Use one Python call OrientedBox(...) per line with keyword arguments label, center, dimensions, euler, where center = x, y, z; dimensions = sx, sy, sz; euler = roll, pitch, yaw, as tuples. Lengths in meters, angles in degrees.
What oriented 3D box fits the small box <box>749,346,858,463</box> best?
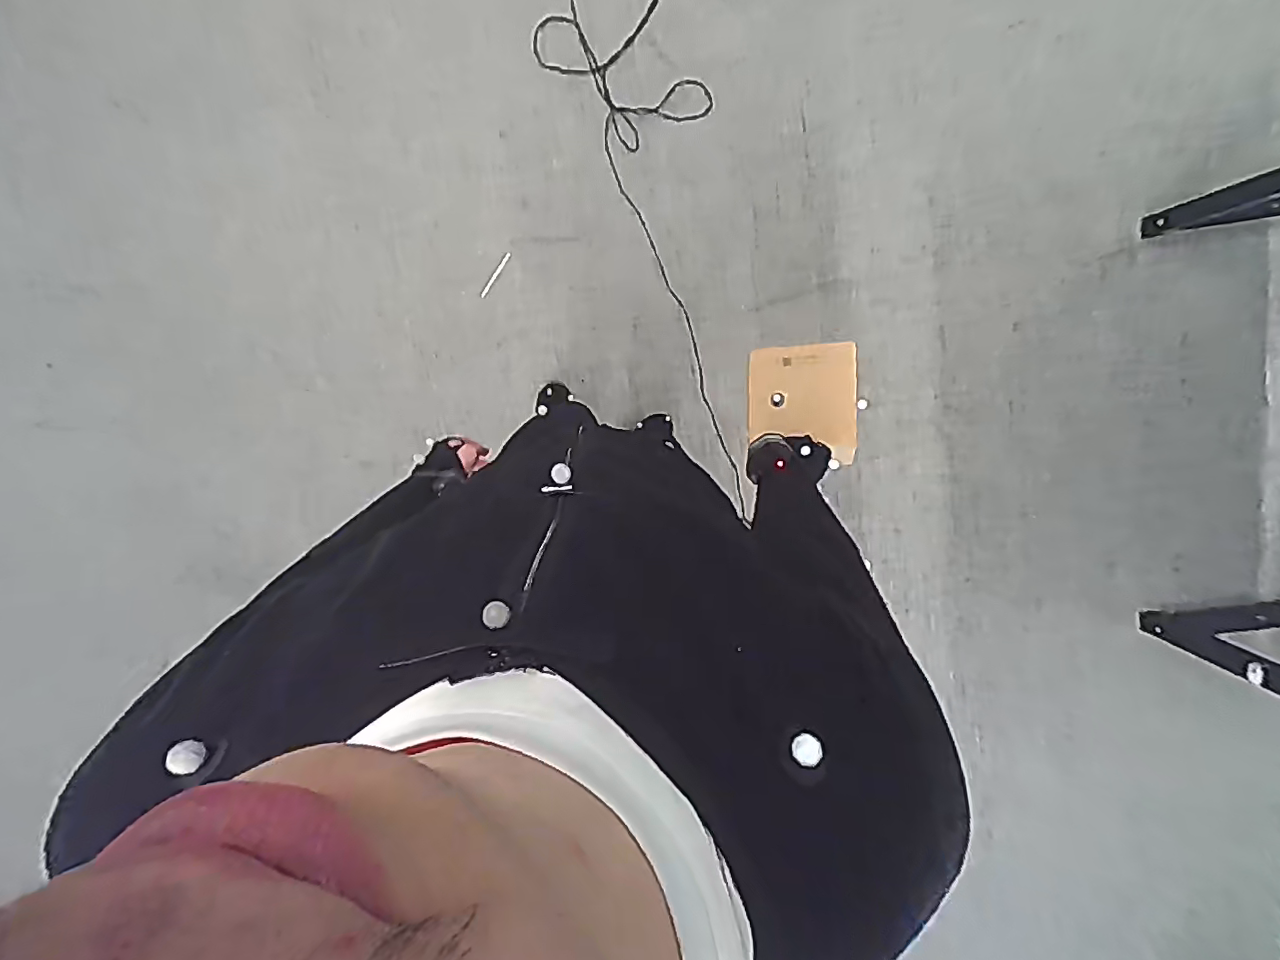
OrientedBox(label="small box", center=(0.280, -0.125, 0.928), dimensions=(0.168, 0.179, 0.176), euler=(2, 84, 19))
